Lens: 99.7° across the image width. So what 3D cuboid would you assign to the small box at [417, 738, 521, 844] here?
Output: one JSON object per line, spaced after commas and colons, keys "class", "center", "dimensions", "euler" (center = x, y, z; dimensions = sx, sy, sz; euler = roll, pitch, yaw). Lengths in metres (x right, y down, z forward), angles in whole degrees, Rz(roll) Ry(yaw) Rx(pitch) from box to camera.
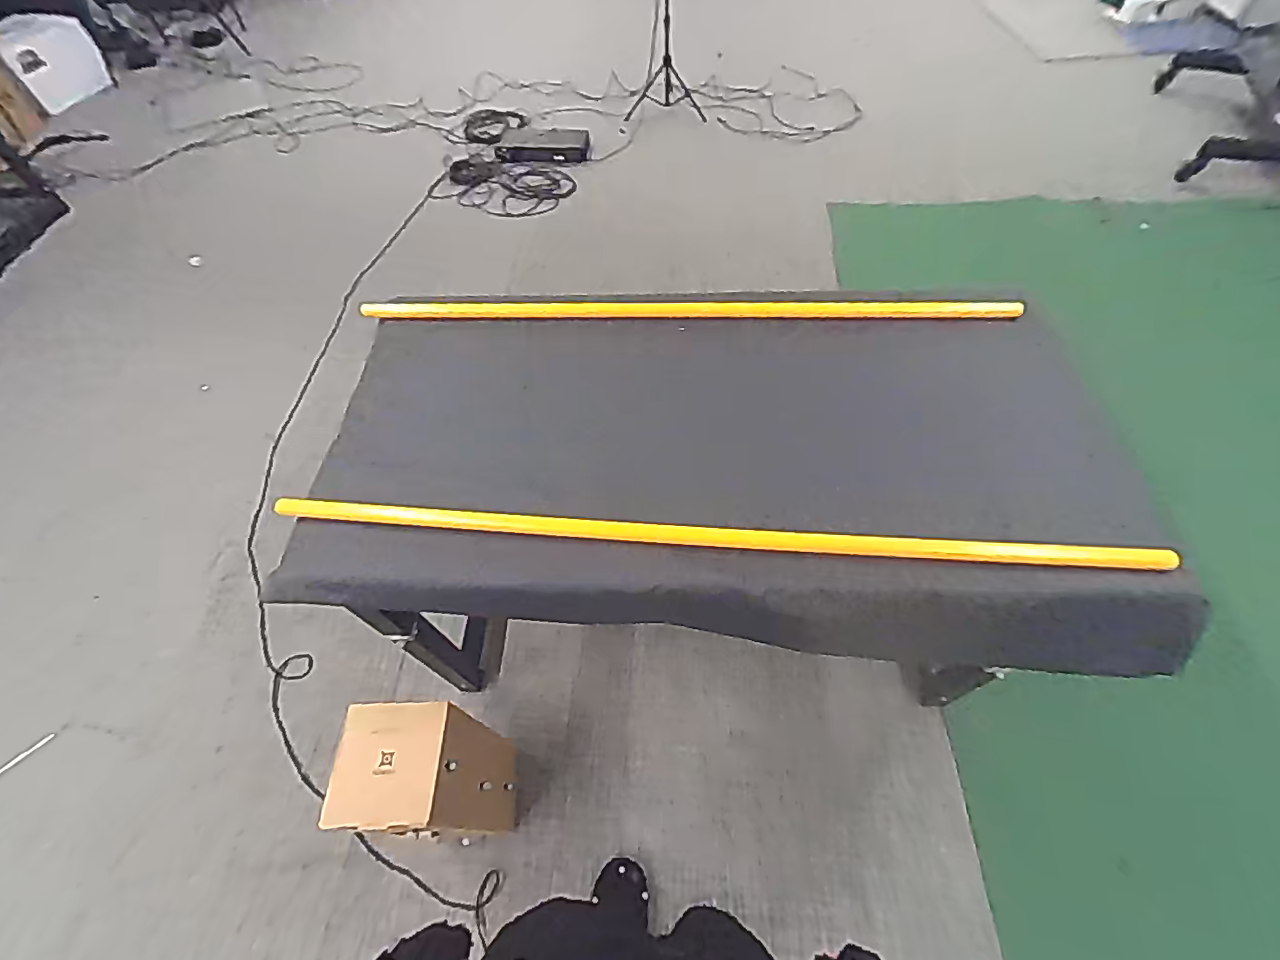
{"class": "small box", "center": [-0.358, 0.673, 1.165], "dimensions": [0.168, 0.176, 0.179], "euler": [-6, 56, 0]}
